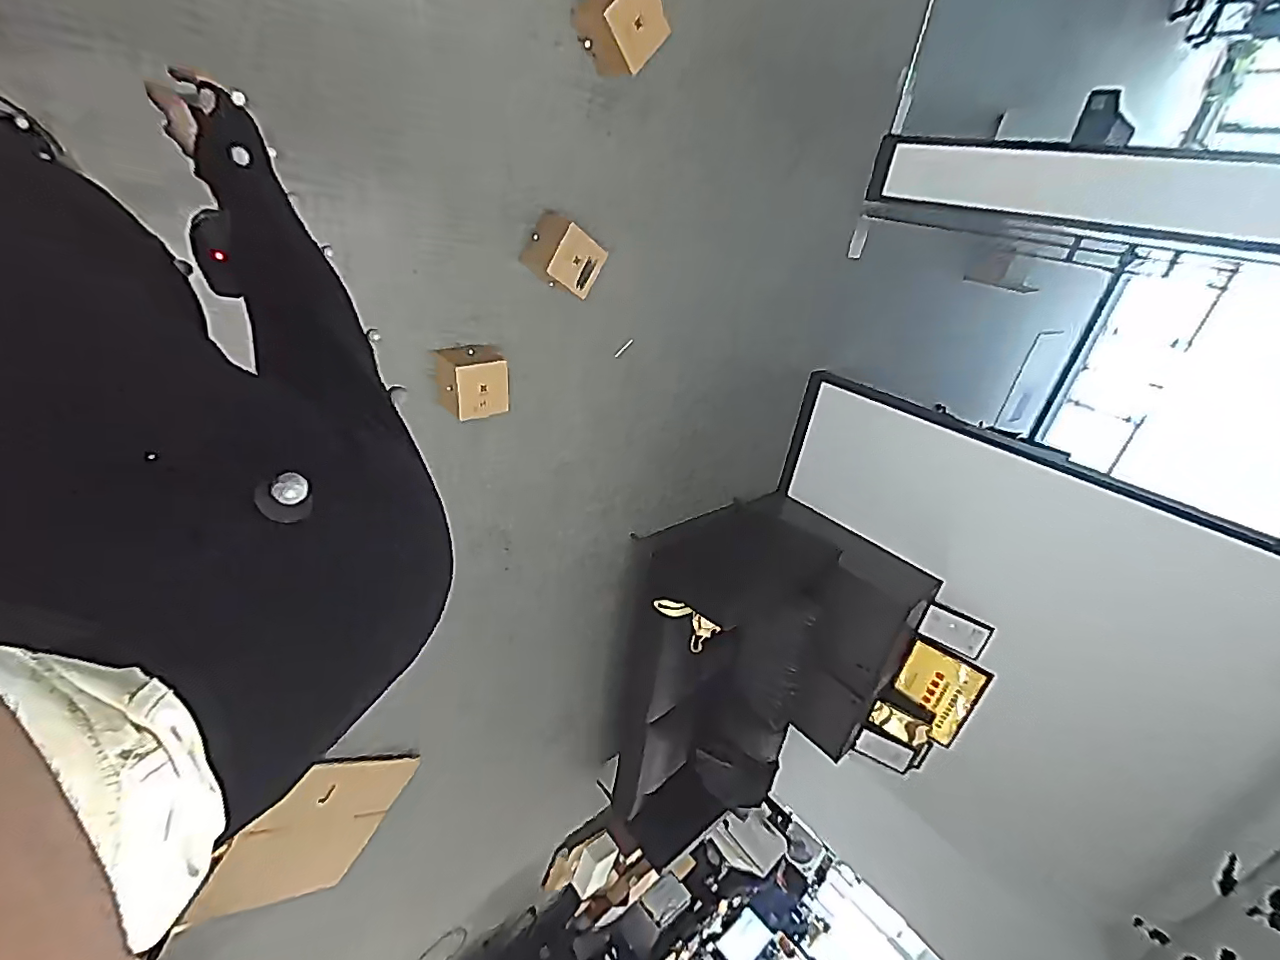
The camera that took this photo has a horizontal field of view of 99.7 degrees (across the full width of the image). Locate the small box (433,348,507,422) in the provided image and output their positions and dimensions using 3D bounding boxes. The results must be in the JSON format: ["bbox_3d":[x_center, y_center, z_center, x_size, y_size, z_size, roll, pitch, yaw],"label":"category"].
[{"bbox_3d":[-0.533,-0.305,1.694,0.168,0.176,0.179,-19,129,-36],"label":"small box"}]
